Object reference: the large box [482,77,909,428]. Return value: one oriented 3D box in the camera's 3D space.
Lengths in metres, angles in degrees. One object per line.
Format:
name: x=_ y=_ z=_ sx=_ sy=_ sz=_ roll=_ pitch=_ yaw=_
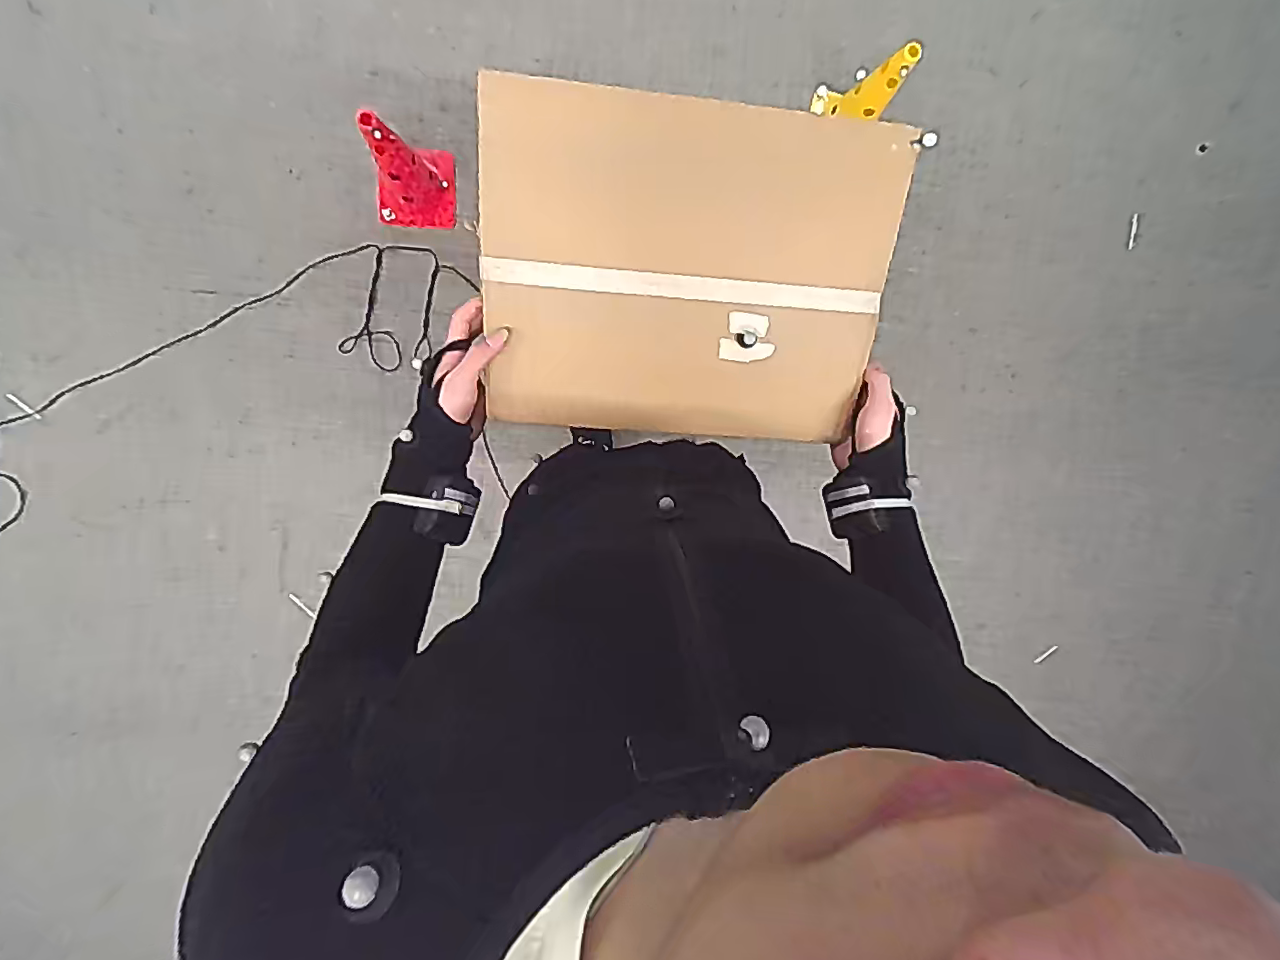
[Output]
large box: x=0.035 y=-0.263 z=0.683 sx=0.408 sy=0.320 sz=0.320 roll=2 pitch=114 yaw=-6
